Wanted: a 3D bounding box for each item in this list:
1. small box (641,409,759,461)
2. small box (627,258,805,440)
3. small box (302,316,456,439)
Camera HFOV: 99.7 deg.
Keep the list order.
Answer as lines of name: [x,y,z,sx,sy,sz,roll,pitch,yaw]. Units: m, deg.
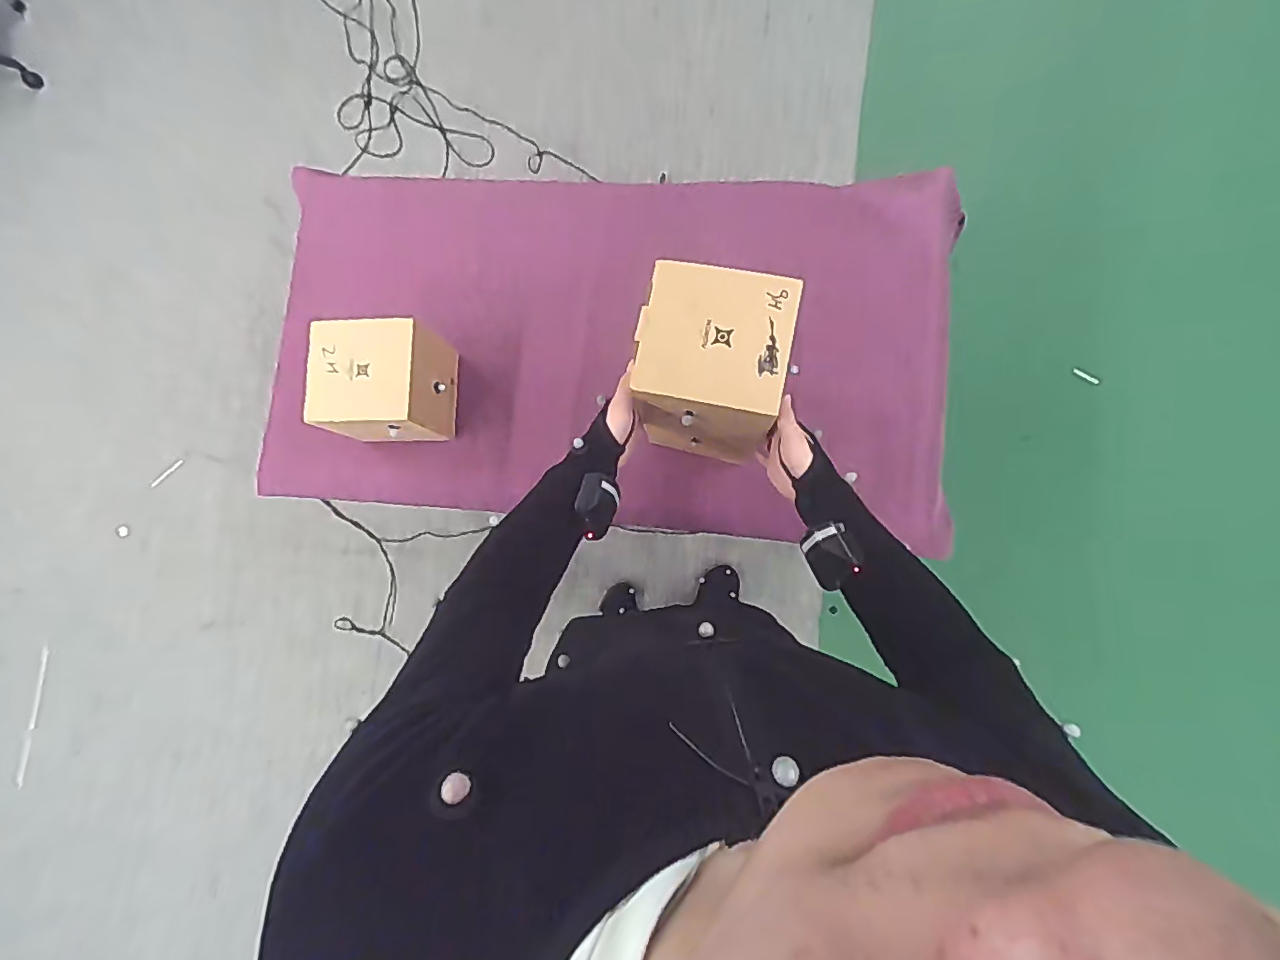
small box: [0.113,-0.136,0.861,0.179,0.176,0.168,15,86,7]
small box: [0.096,-0.156,0.695,0.179,0.176,0.168,12,84,8]
small box: [-0.429,-0.166,0.917,0.179,0.176,0.168,0,83,6]
